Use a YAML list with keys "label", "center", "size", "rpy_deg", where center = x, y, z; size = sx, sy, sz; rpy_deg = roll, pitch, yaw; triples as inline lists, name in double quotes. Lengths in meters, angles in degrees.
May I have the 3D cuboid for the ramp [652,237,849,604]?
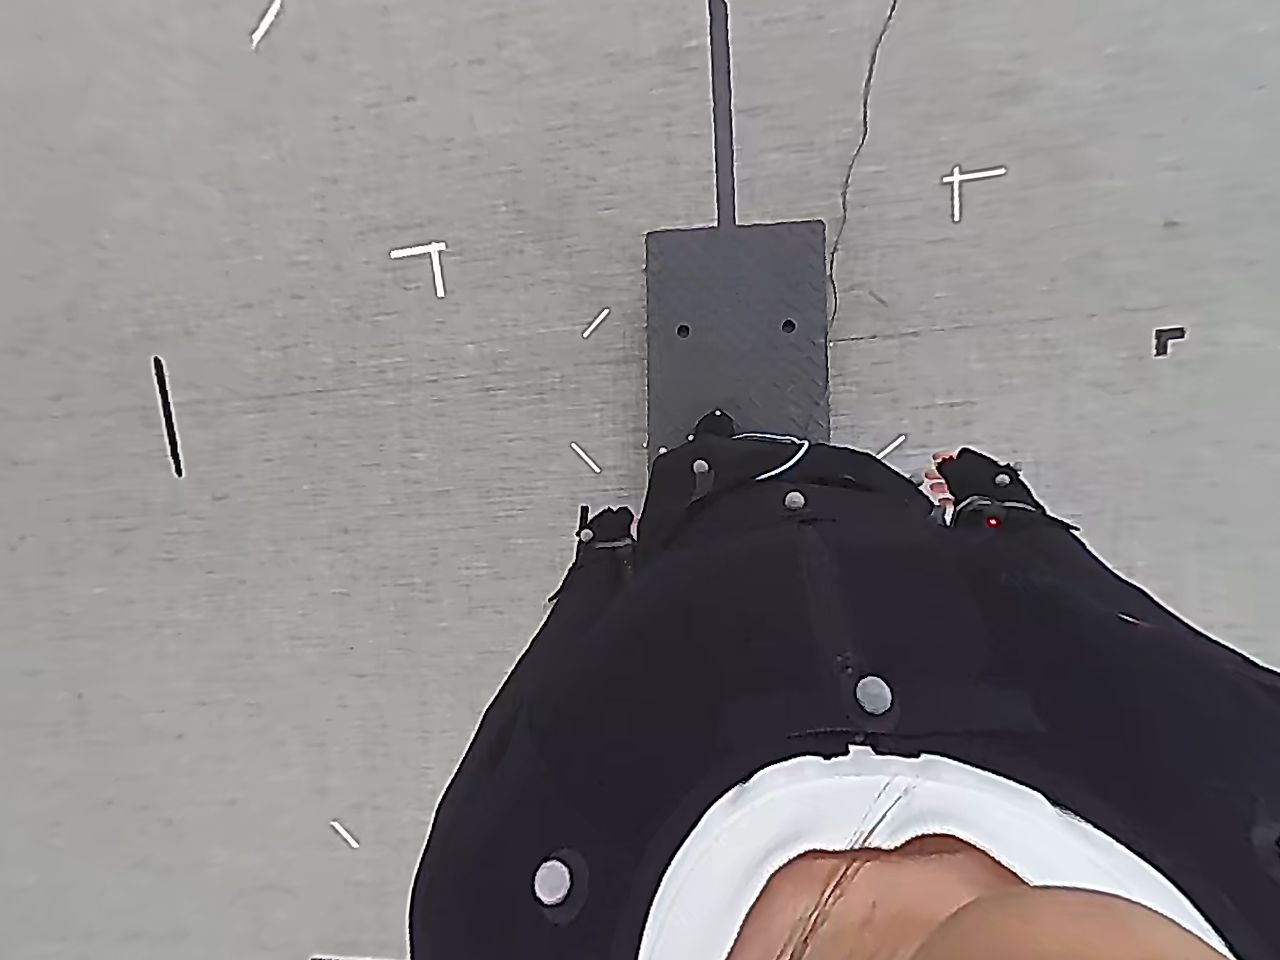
- label: "ramp"
  center: [0.287, -0.169, 1.485]
  size: [0.509, 0.206, 0.991]
  rpy_deg: [-4, 94, 9]
